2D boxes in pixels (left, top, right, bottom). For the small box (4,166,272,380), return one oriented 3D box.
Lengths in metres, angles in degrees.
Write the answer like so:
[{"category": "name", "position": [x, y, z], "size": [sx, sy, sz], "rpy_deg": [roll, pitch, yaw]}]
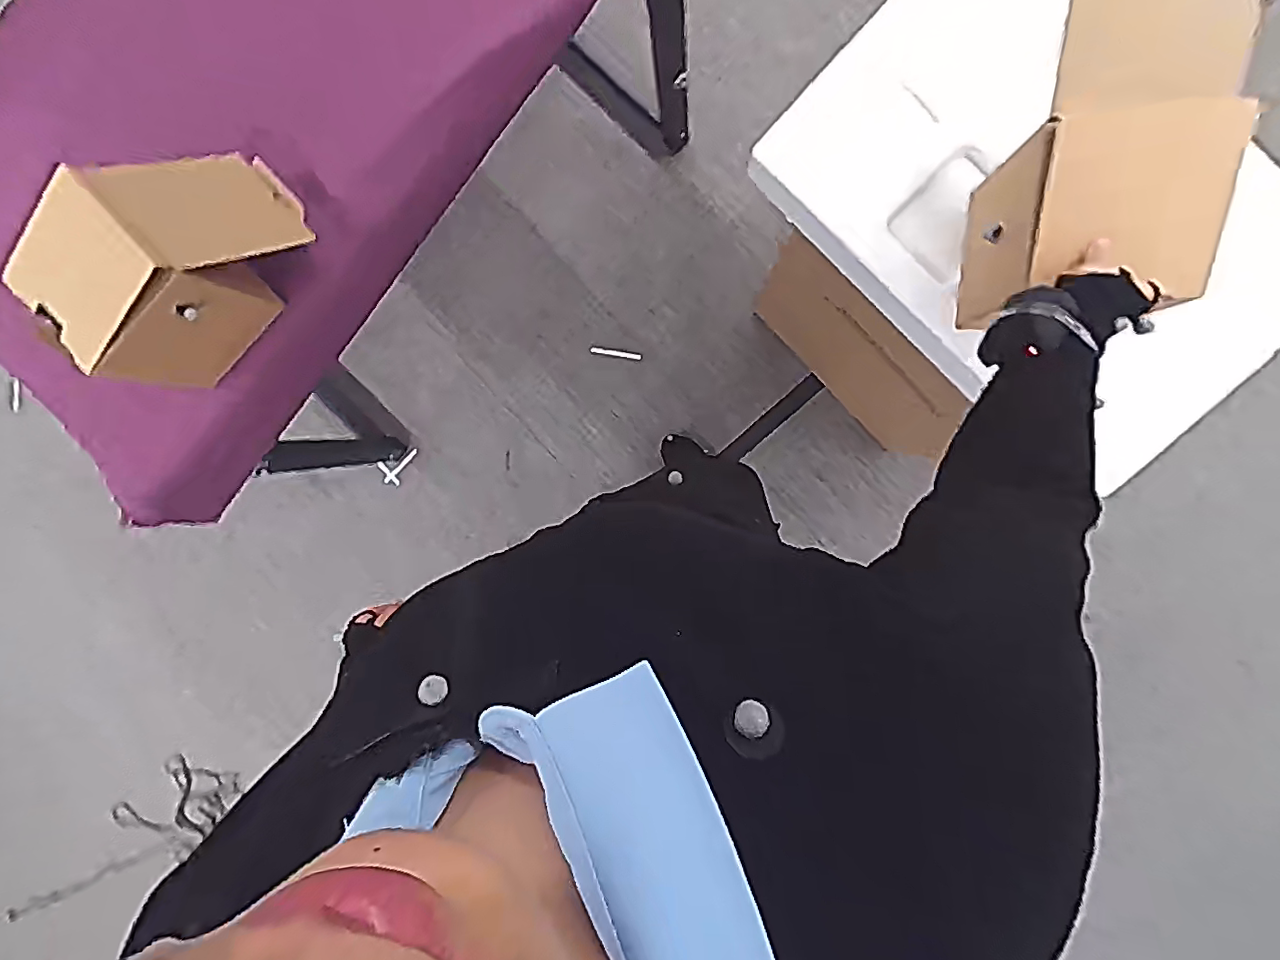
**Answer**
[{"category": "small box", "position": [-0.637, -0.255, 0.715], "size": [0.179, 0.176, 0.168], "rpy_deg": [-42, 88, 8]}]
